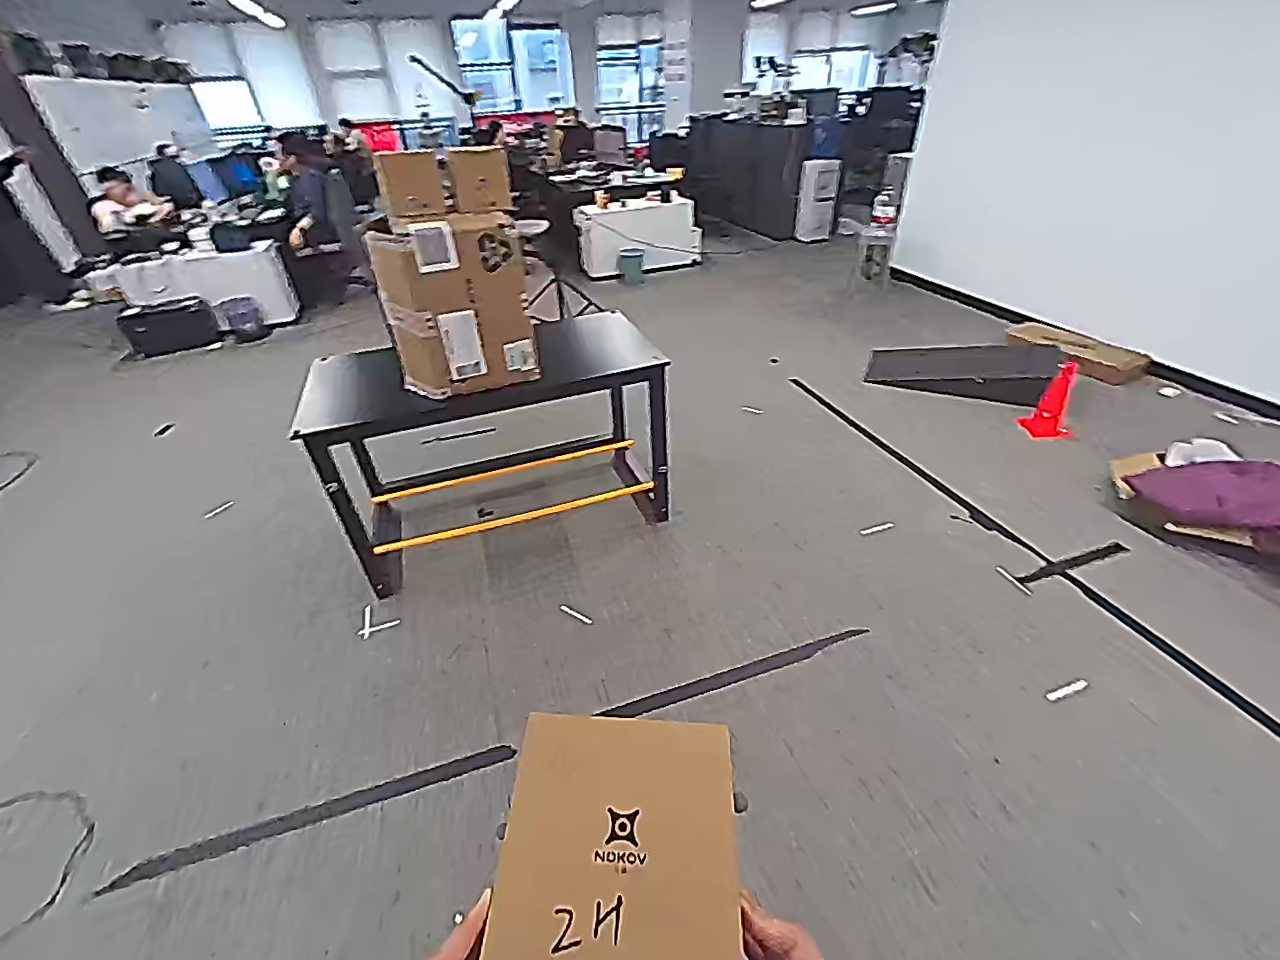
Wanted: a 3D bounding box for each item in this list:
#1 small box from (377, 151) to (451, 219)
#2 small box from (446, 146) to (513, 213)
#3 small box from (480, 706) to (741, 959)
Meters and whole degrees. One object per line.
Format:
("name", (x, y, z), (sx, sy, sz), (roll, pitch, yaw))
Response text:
("small box", (-0.696, -0.909, 1.665), (0.168, 0.176, 0.179), (-18, 37, -20))
("small box", (-0.507, -0.950, 1.712), (0.168, 0.176, 0.179), (-13, 37, -18))
("small box", (-0.016, 0.311, 0.442), (0.168, 0.176, 0.179), (2, 43, 2))
